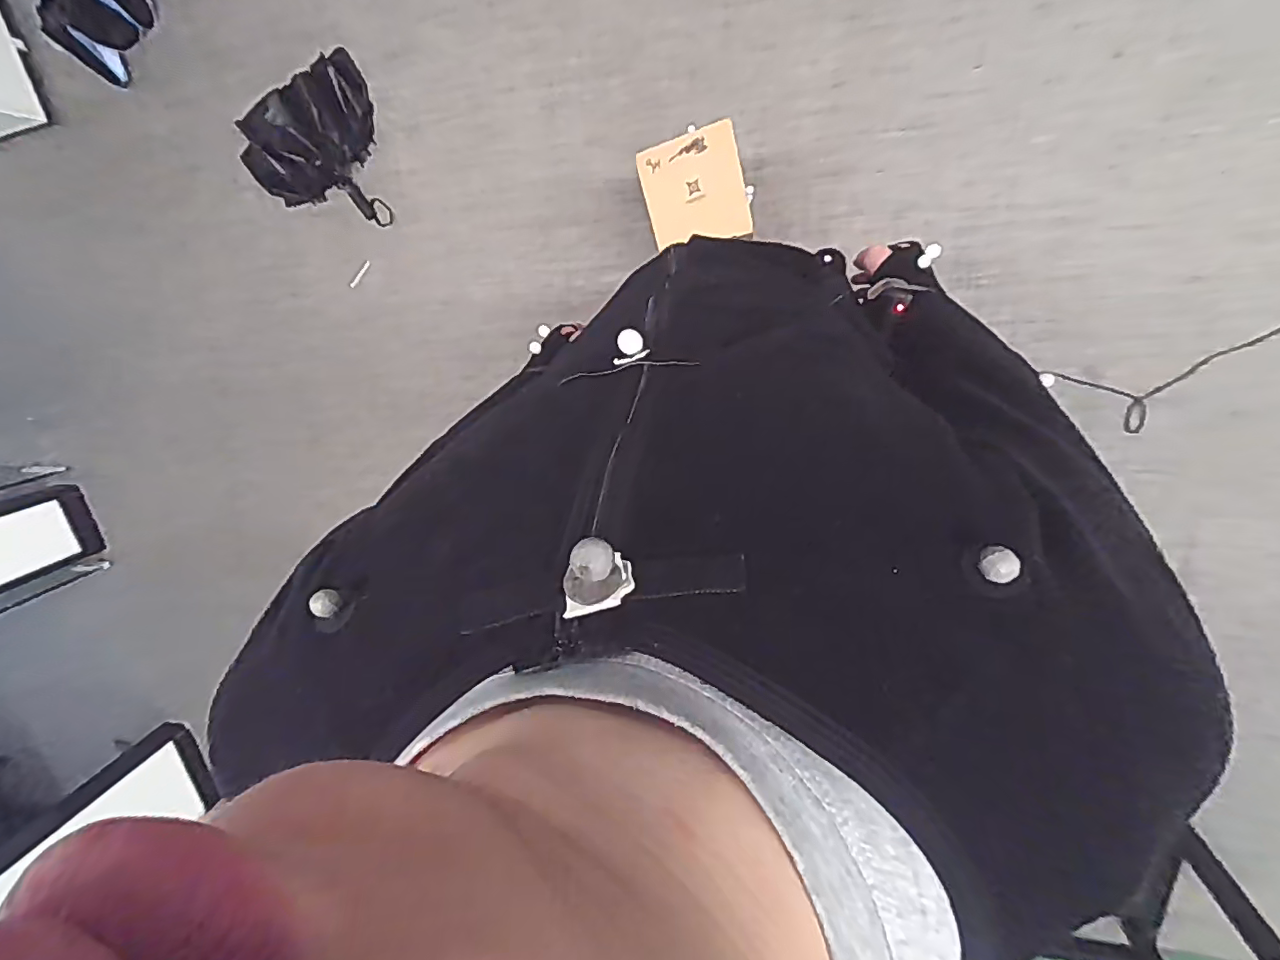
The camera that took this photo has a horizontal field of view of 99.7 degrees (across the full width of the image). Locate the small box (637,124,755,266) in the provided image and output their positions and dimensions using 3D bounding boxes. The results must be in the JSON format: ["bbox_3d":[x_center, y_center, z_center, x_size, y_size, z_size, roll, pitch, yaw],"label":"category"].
[{"bbox_3d":[0.111,-0.501,0.973,0.168,0.176,0.179,-11,109,17],"label":"small box"}]
